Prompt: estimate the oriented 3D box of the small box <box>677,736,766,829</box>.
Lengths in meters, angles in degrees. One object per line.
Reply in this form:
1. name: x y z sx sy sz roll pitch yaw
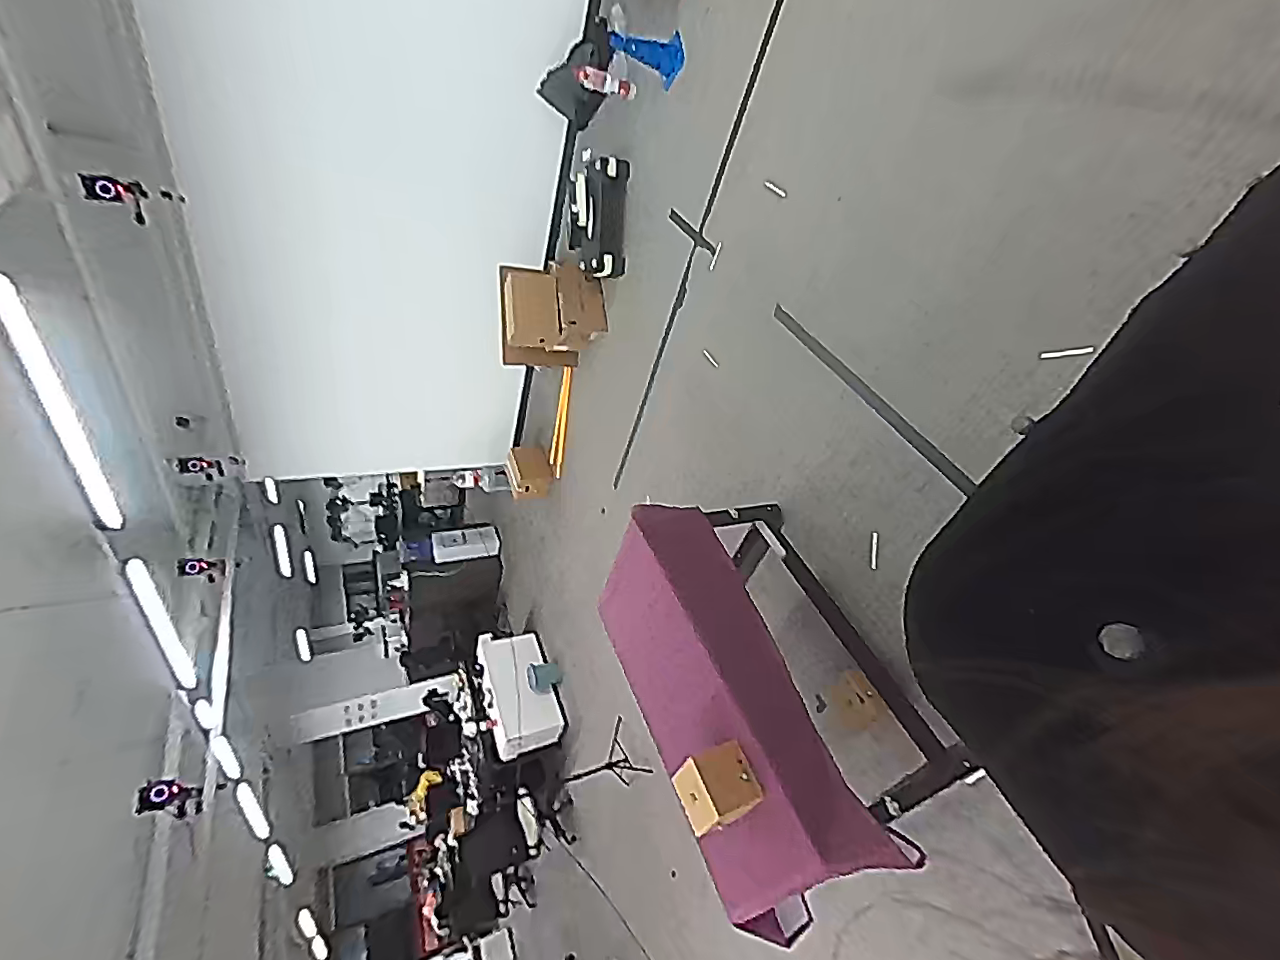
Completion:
1. small box: 0.237 0.881 1.579 0.168 0.176 0.179 61 144 37
